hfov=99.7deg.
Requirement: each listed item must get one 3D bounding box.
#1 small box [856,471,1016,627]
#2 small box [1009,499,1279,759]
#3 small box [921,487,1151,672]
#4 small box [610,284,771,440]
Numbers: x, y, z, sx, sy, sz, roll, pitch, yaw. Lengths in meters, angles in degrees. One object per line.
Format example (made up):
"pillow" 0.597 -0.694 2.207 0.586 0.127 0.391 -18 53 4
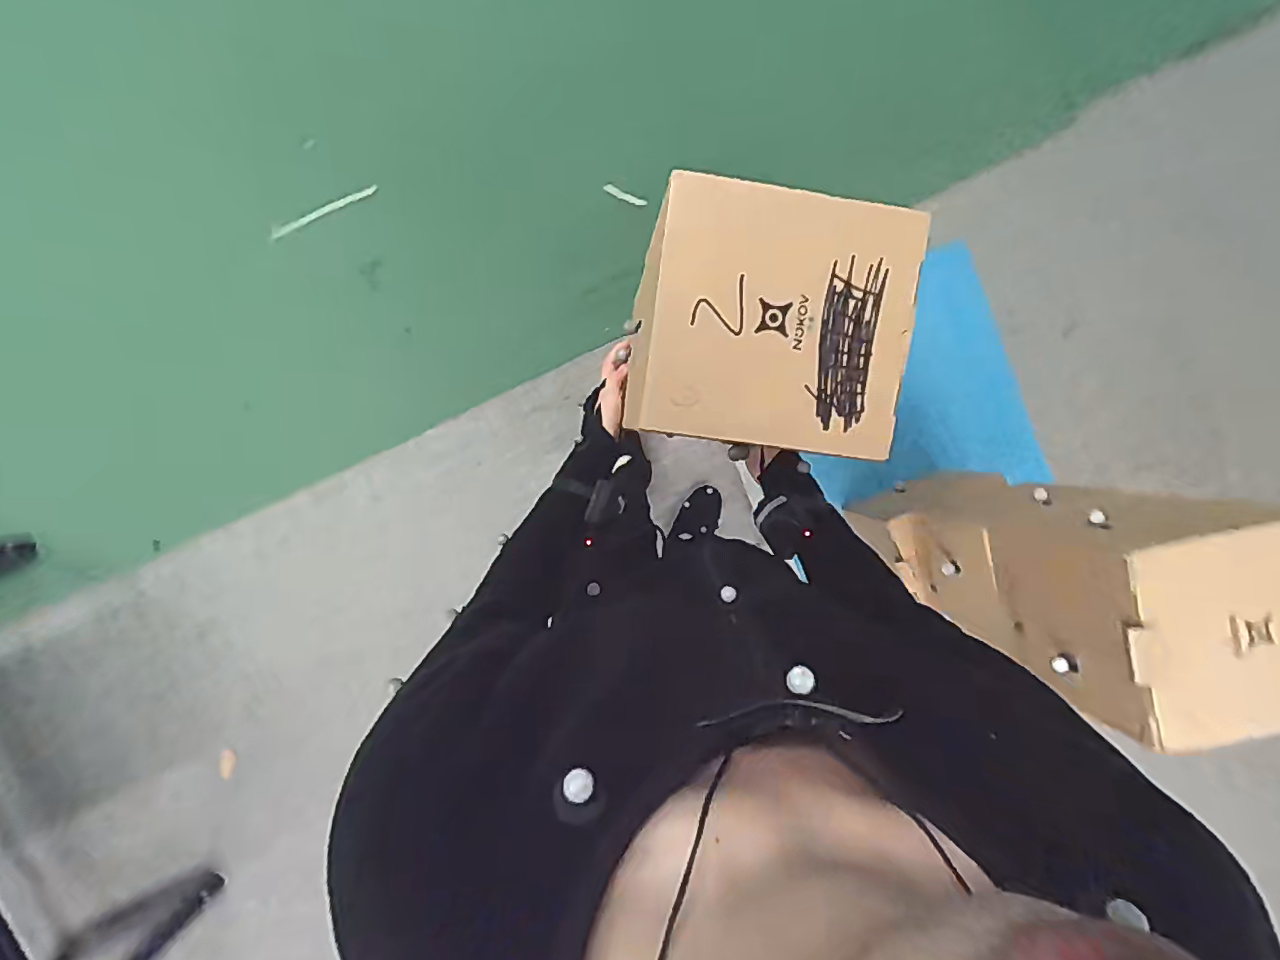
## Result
"small box" 0.447 0.093 0.810 0.179 0.176 0.168 -22 93 2
"small box" 0.468 0.115 0.485 0.179 0.176 0.168 -10 93 -1
"small box" 0.465 0.106 0.648 0.179 0.176 0.168 -13 92 -1
"small box" 0.058 -0.153 0.748 0.179 0.176 0.168 9 95 -5
